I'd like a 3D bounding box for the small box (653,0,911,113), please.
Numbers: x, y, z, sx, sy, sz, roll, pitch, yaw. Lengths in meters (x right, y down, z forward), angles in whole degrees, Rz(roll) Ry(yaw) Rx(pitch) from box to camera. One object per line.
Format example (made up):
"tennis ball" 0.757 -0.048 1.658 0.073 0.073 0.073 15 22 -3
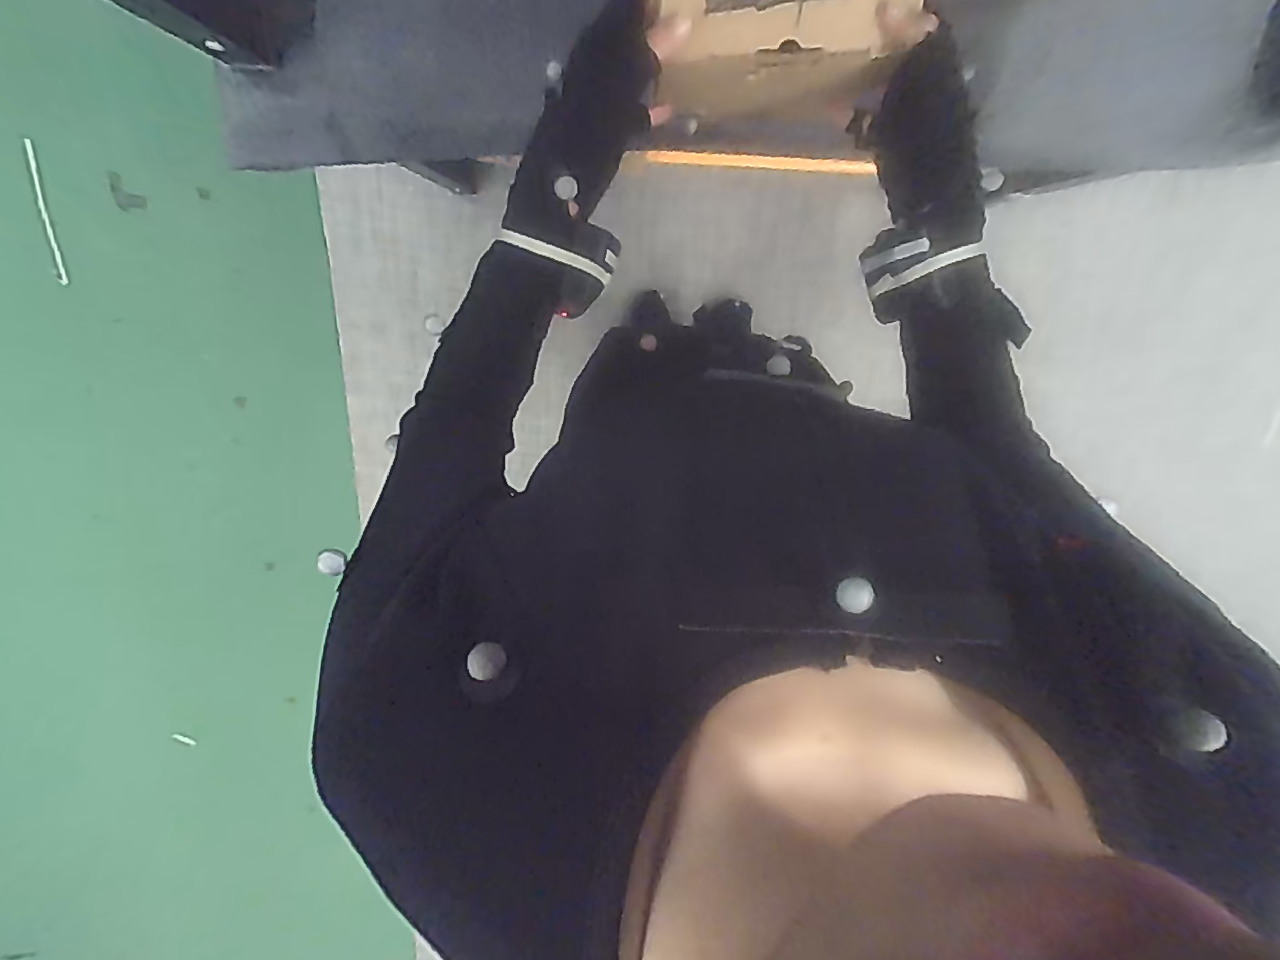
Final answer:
"small box" 0.094 -0.393 0.403 0.168 0.176 0.179 -2 111 1
